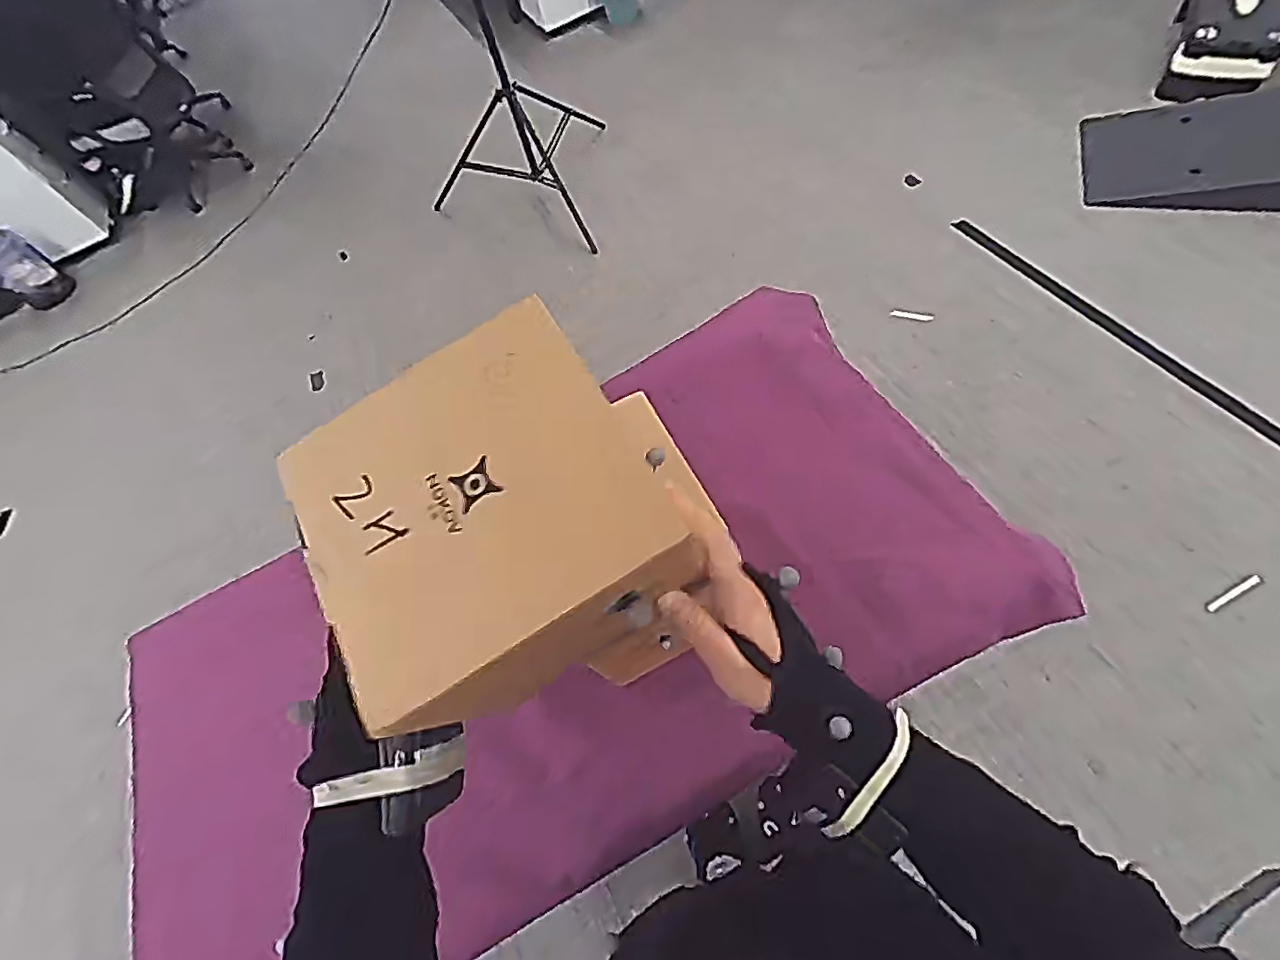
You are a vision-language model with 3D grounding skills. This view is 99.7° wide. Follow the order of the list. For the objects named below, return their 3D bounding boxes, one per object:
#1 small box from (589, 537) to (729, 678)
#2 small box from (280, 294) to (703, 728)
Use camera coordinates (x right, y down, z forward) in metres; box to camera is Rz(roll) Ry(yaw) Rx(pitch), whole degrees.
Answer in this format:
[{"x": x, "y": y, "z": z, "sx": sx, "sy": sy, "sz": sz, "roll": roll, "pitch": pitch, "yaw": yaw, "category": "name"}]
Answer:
[{"x": 0.001, "y": 0.130, "z": 0.683, "sx": 0.179, "sy": 0.176, "sz": 0.168, "roll": -27, "pitch": 61, "yaw": -5, "category": "small box"}, {"x": -0.072, "y": 0.028, "z": 0.348, "sx": 0.179, "sy": 0.176, "sz": 0.168, "roll": -35, "pitch": 68, "yaw": -1, "category": "small box"}]
